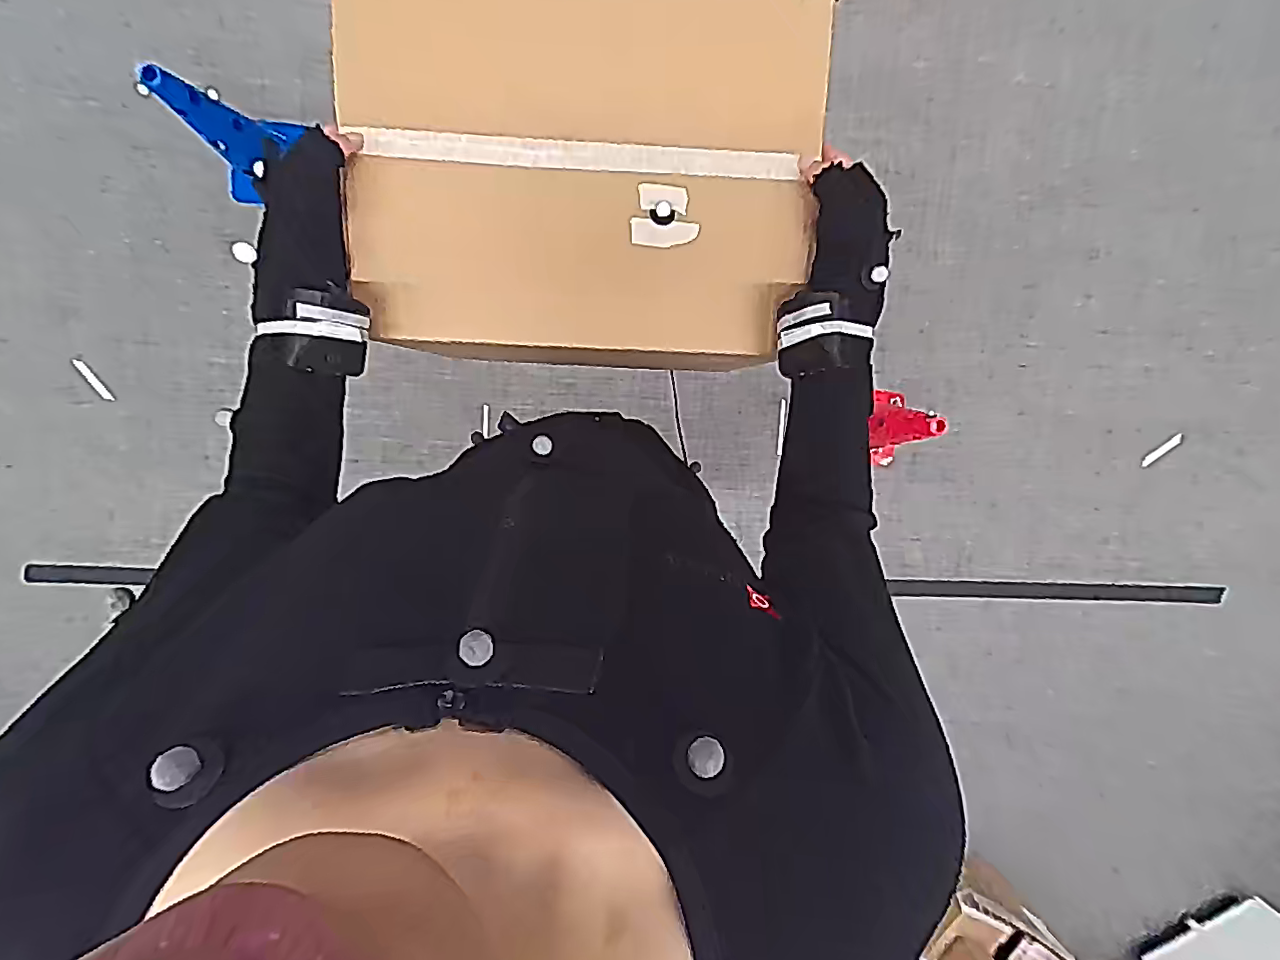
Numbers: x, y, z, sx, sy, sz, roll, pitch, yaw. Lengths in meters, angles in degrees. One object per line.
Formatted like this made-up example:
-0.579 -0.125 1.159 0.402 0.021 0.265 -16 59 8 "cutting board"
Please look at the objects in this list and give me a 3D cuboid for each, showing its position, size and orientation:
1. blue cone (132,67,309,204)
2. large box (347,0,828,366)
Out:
-0.924 -0.774 1.193 0.192 0.380 0.193 5 96 -1 "blue cone"
-0.053 -0.299 0.610 0.408 0.320 0.320 1 99 -4 "large box"
